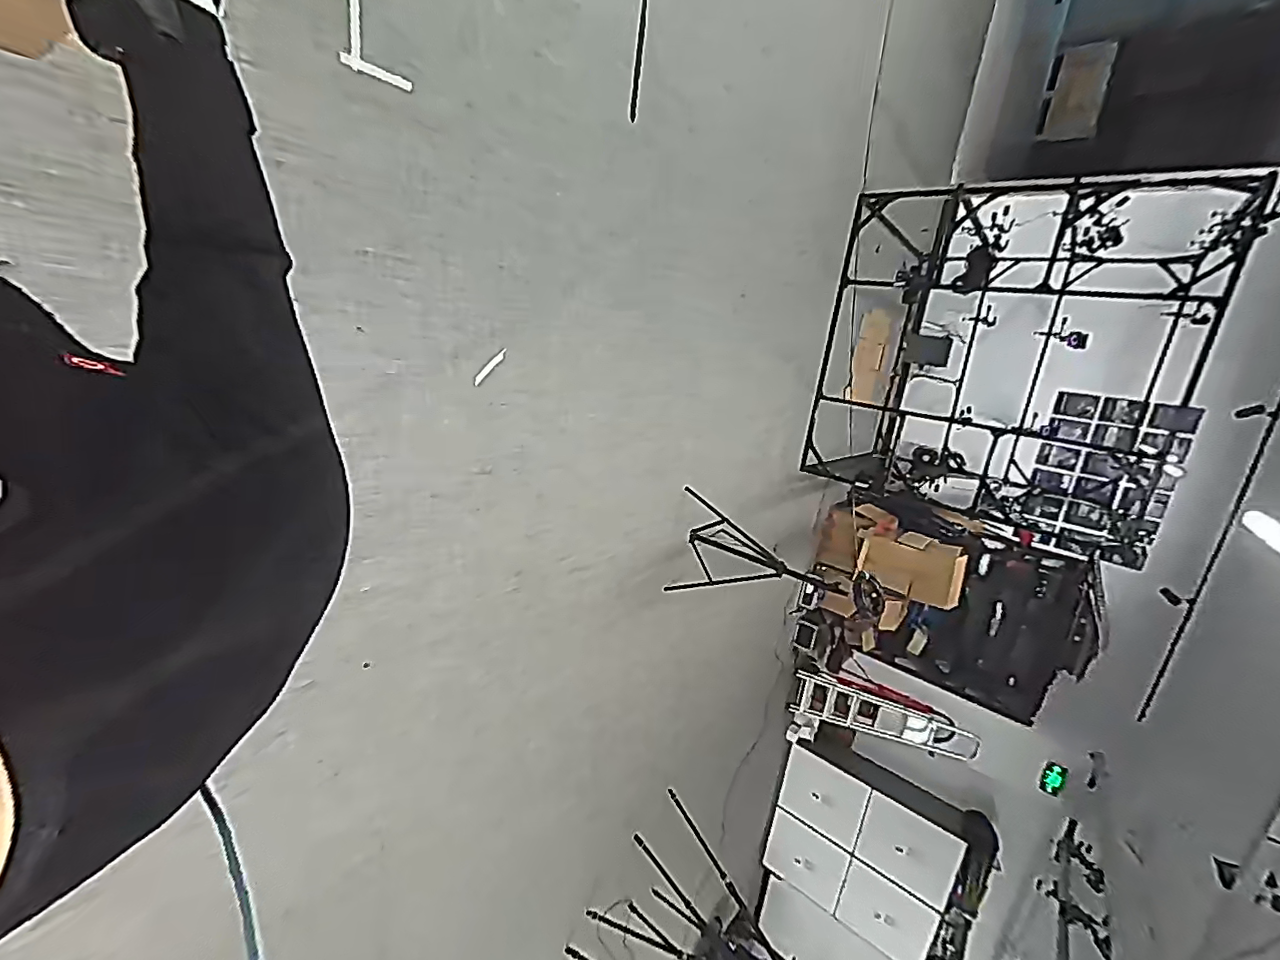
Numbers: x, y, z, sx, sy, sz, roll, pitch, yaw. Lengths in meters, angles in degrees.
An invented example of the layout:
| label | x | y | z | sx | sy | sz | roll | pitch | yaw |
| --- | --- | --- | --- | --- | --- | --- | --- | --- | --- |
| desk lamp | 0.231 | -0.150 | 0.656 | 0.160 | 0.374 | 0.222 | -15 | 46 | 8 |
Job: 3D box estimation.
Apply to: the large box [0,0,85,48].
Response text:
| label | x | y | z | sx | sy | sz | roll | pitch | yaw |
| --- | --- | --- | --- | --- | --- | --- | --- | --- | --- |
| large box | -0.576 | -0.492 | 0.252 | 0.408 | 0.320 | 0.320 | -14 | 118 | -53 |
